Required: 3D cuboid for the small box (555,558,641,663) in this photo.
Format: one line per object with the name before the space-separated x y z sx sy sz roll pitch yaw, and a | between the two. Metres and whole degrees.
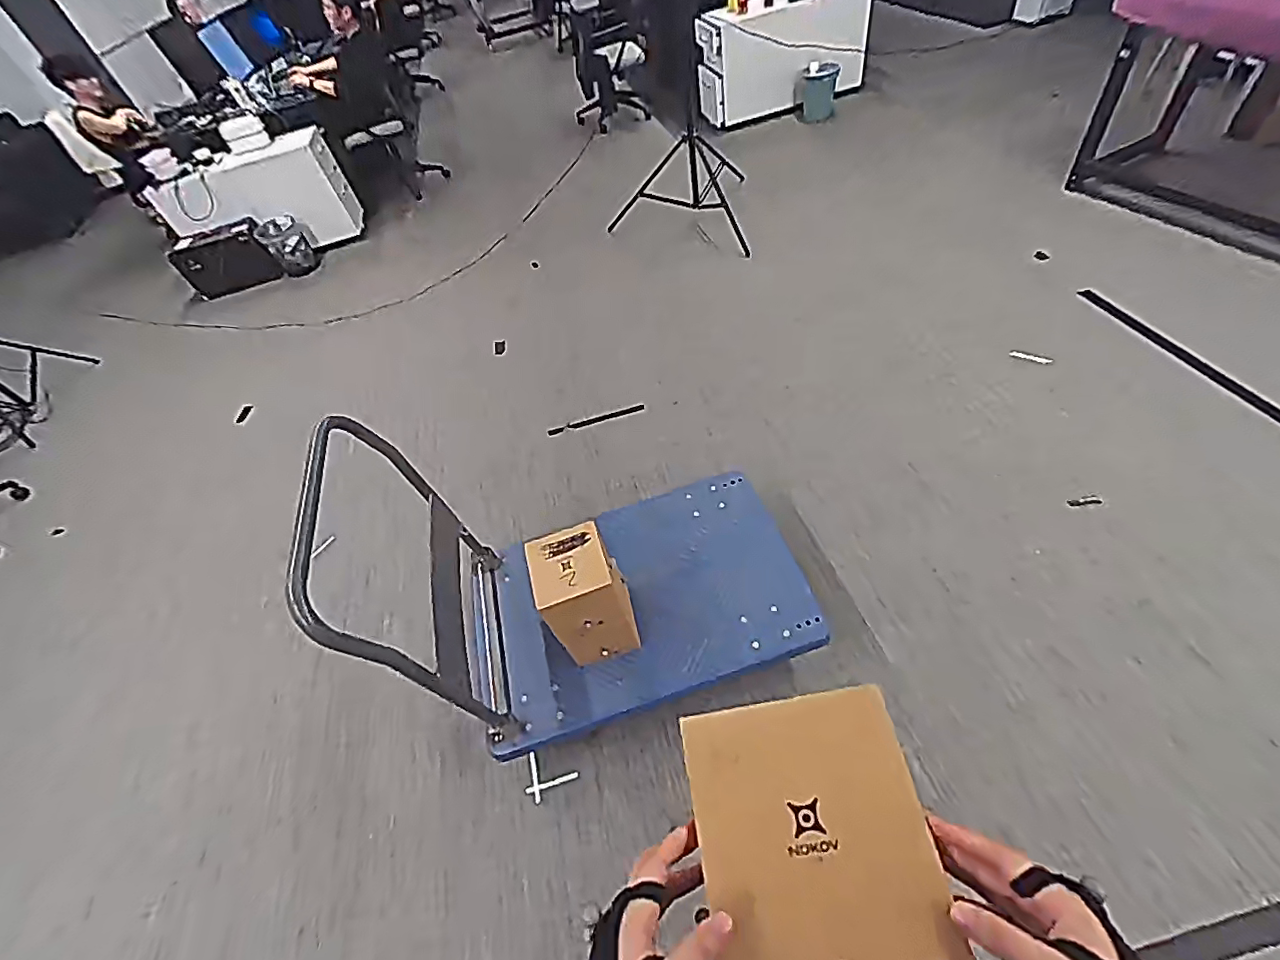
small box | -0.104 0.327 1.343 0.168 0.176 0.179 -16 50 0
